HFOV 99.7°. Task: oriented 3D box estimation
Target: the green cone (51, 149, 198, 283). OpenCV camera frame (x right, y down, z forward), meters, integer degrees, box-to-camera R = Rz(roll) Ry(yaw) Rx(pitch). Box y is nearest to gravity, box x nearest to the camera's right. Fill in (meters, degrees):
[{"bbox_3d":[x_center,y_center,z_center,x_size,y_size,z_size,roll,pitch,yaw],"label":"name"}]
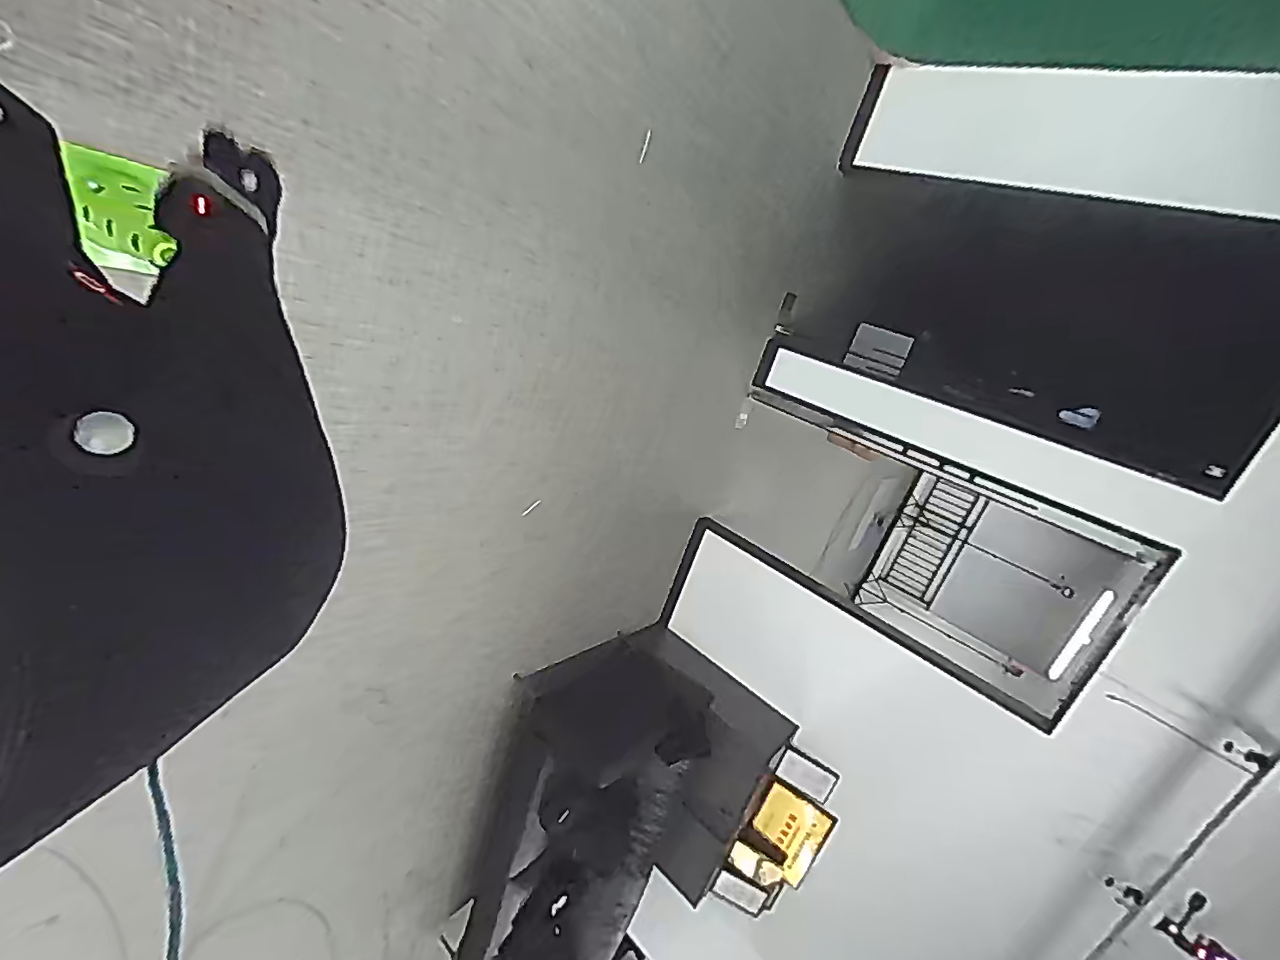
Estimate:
[{"bbox_3d":[-0.854,-0.422,0.939,0.202,0.368,0.200,-7,120,-50],"label":"green cone"}]
